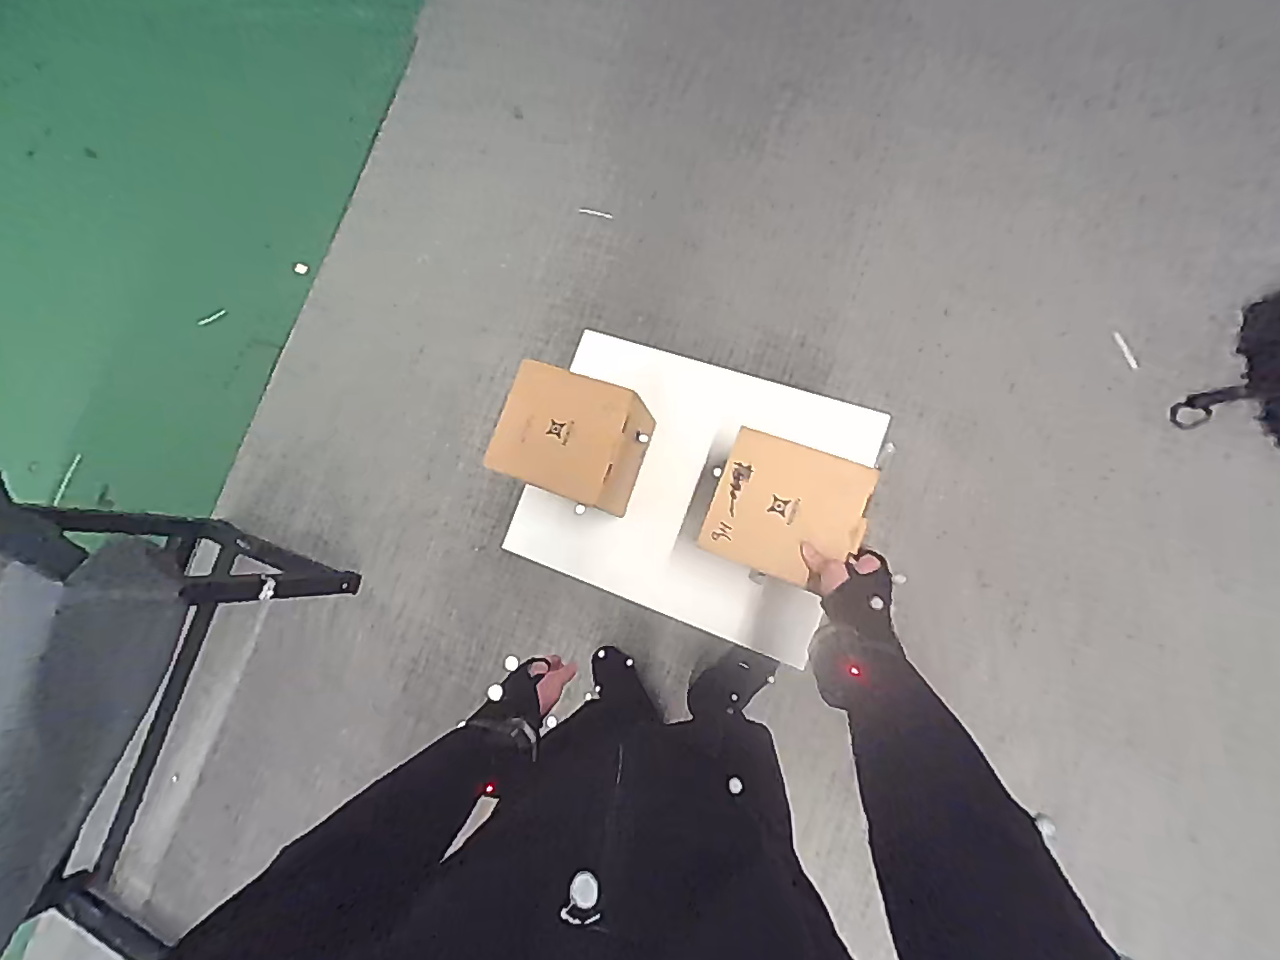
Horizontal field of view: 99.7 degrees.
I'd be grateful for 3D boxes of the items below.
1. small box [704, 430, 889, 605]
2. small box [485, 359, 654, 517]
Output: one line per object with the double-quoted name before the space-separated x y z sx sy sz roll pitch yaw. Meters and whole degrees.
"small box" 0.199 0.052 0.725 0.179 0.176 0.168 21 84 12
"small box" -0.089 -0.050 0.792 0.179 0.176 0.168 18 82 12
